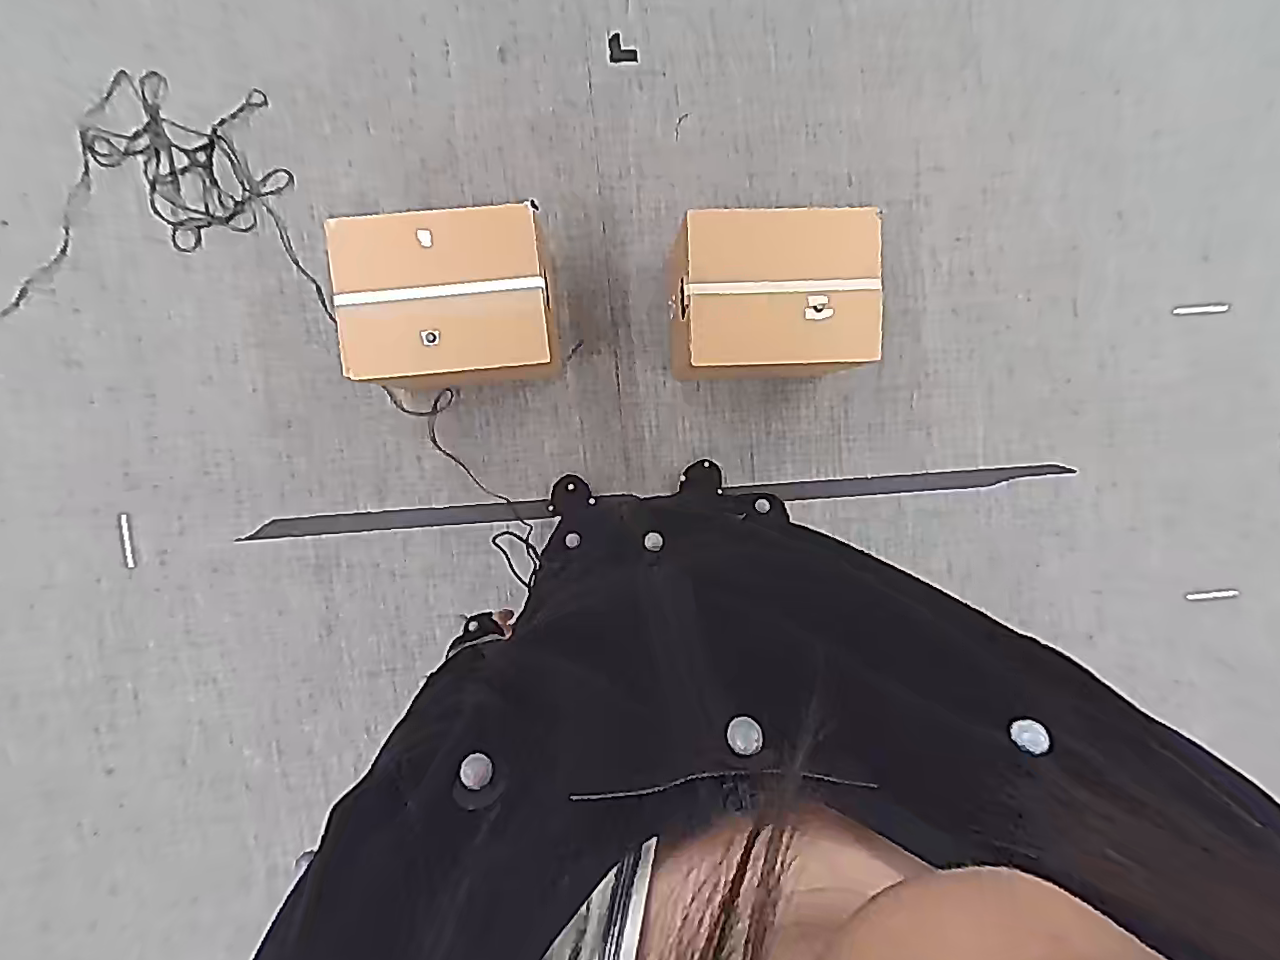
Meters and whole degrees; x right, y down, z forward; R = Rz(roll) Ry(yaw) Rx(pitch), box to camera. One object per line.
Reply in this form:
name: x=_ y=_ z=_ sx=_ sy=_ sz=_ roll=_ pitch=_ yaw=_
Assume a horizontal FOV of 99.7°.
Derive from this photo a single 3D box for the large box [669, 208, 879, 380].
large box: x=0.288 y=-0.413 z=1.265 sx=0.408 sy=0.320 sz=0.320 roll=-2 pitch=95 yaw=-4
